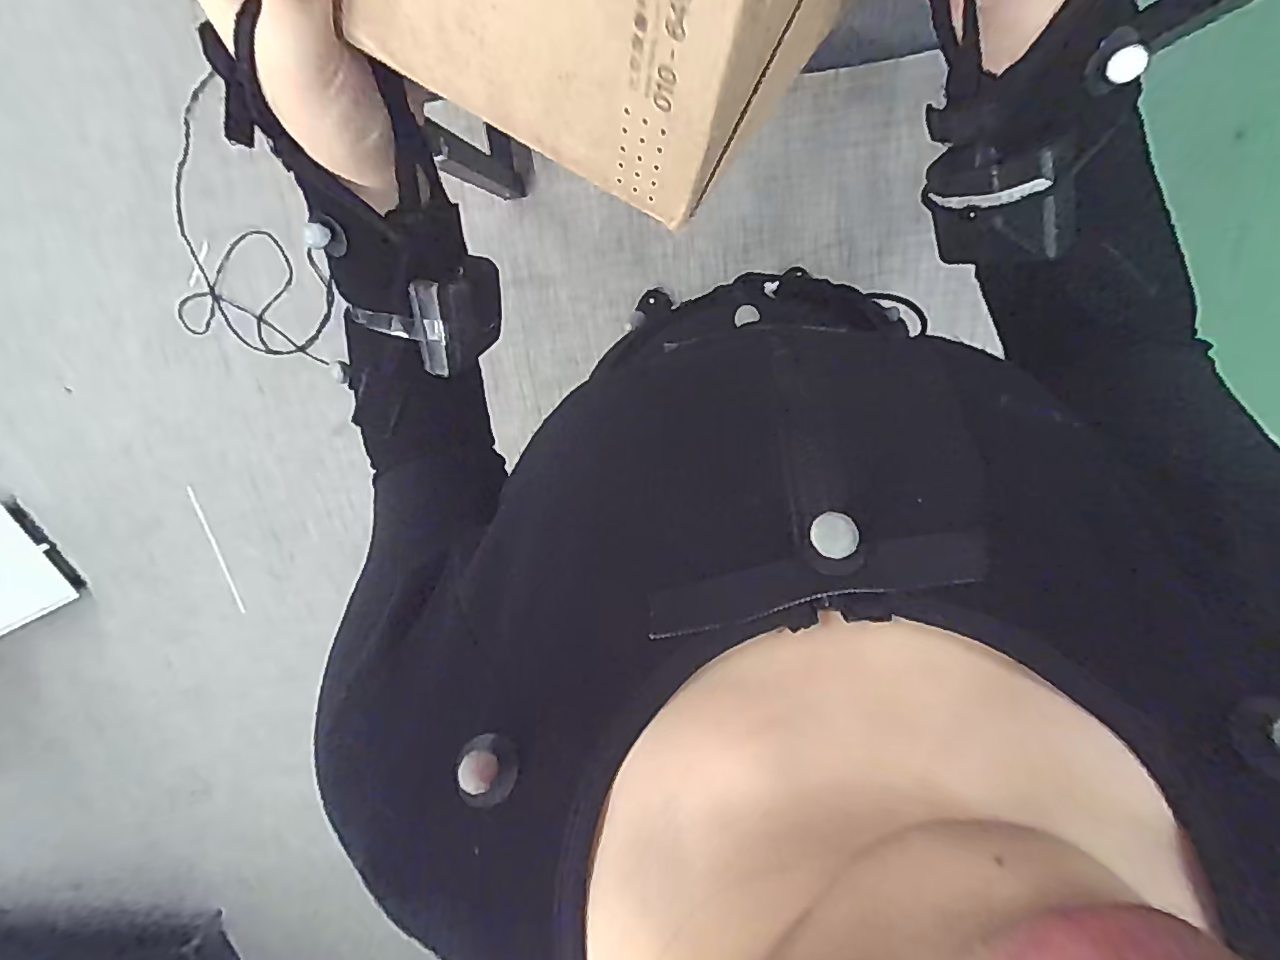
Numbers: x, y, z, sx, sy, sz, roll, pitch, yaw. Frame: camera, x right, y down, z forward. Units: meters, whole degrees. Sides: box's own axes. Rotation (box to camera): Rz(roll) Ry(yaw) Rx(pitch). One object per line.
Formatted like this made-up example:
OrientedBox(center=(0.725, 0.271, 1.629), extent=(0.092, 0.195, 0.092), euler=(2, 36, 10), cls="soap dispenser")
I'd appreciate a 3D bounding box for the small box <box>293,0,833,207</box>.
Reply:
OrientedBox(center=(-0.005, -0.222, 0.151), extent=(0.176, 0.168, 0.179), euler=(30, 73, 2), cls="small box")
